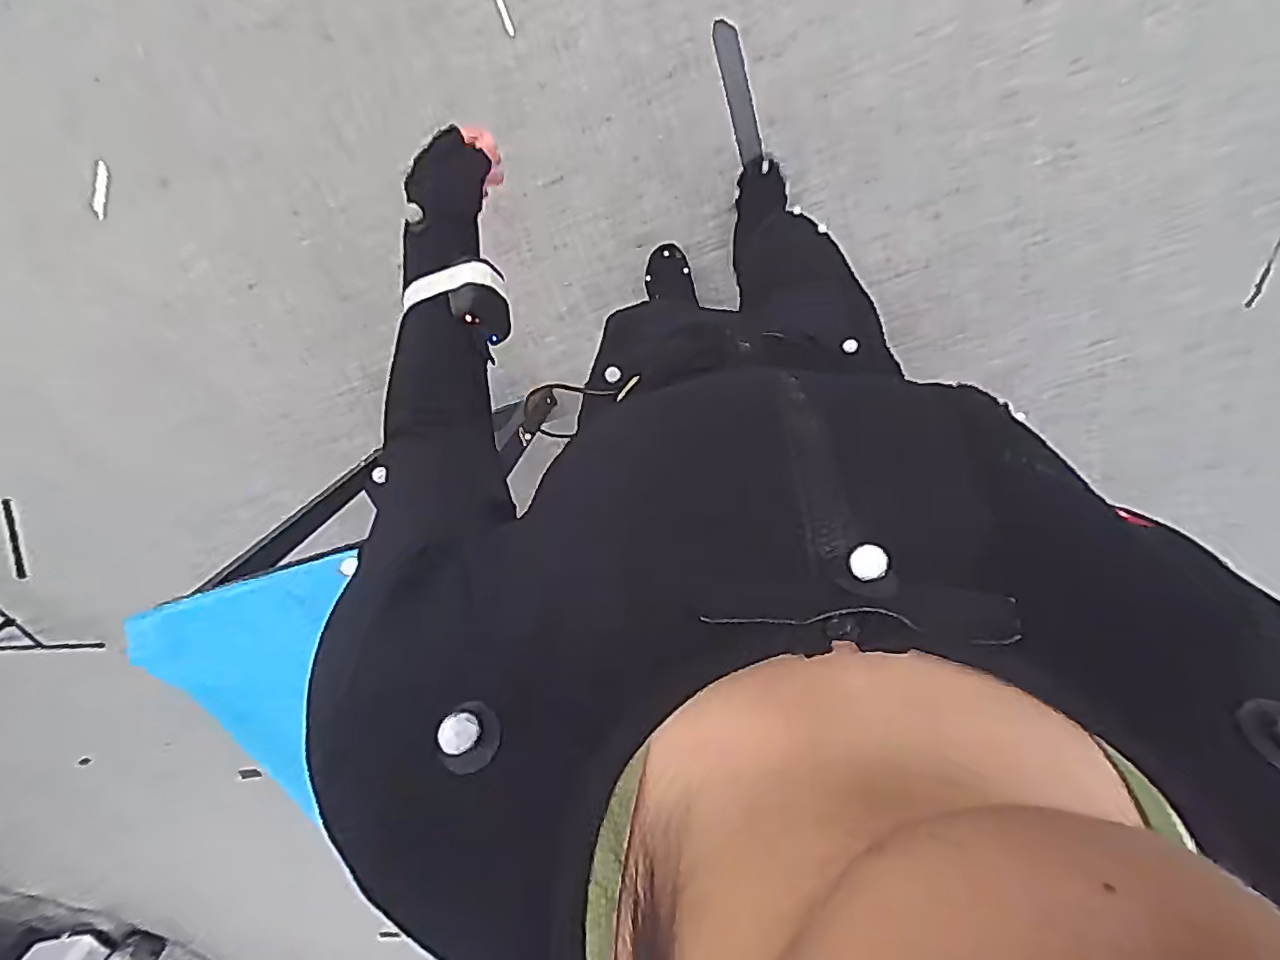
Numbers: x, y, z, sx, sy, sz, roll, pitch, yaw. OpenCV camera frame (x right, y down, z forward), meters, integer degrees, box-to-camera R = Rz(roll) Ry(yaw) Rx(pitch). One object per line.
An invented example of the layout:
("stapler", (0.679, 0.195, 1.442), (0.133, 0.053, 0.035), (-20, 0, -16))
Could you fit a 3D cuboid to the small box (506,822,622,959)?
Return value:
("small box", (-0.148, 0.840, 1.105), (0.179, 0.176, 0.168), (-13, 114, 10))
